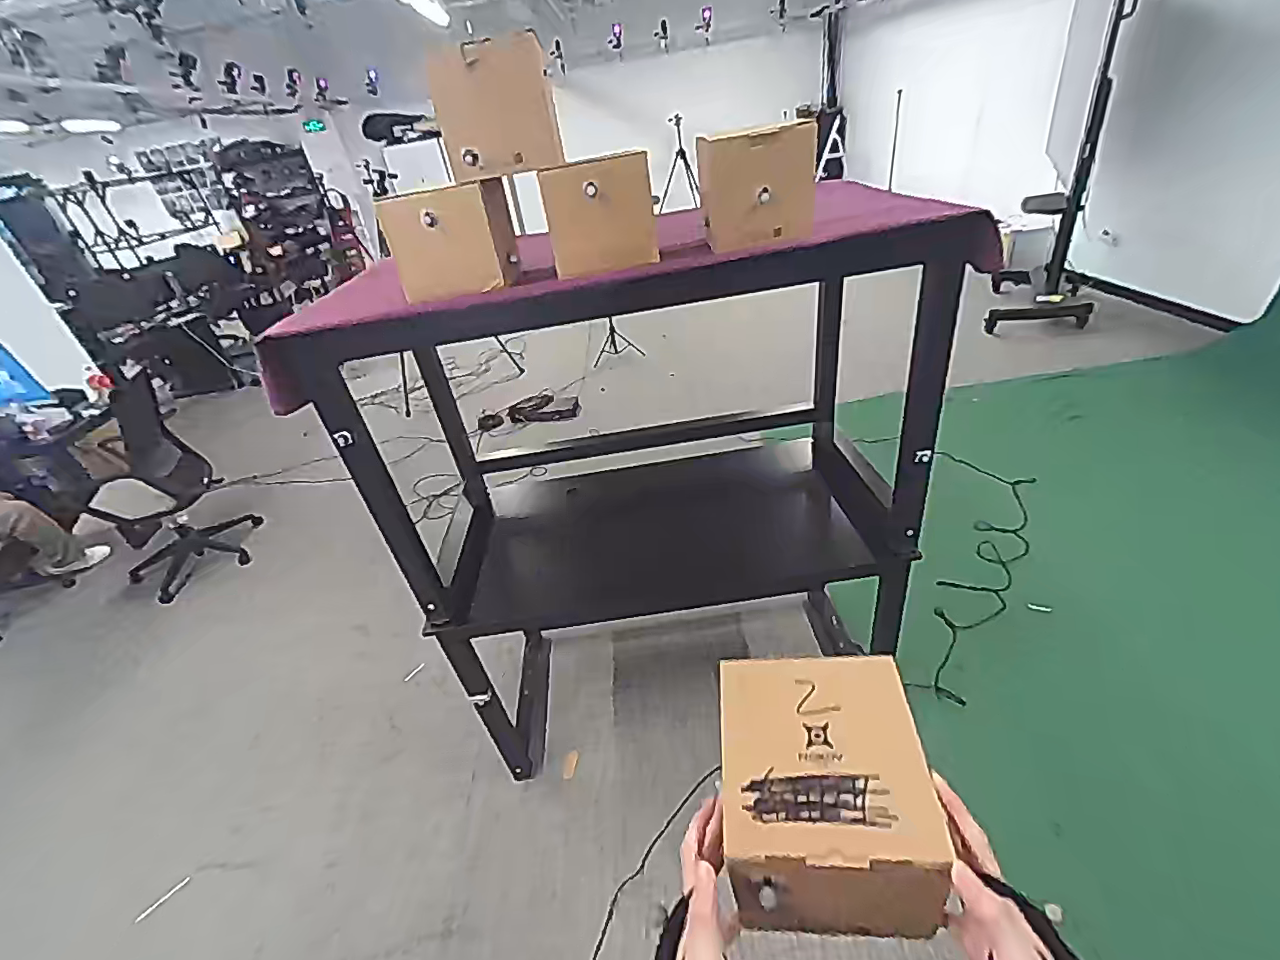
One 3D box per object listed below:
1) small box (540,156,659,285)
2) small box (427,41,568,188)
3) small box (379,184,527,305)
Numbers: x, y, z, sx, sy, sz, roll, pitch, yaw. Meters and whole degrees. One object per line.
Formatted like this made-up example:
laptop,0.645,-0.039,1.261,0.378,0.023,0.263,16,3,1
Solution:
small box,-0.063,-0.457,0.951,0.179,0.176,0.168,-10,32,2
small box,-0.217,-0.581,0.879,0.168,0.176,0.179,-9,31,1
small box,-0.317,-0.418,0.959,0.179,0.176,0.168,-6,32,5
